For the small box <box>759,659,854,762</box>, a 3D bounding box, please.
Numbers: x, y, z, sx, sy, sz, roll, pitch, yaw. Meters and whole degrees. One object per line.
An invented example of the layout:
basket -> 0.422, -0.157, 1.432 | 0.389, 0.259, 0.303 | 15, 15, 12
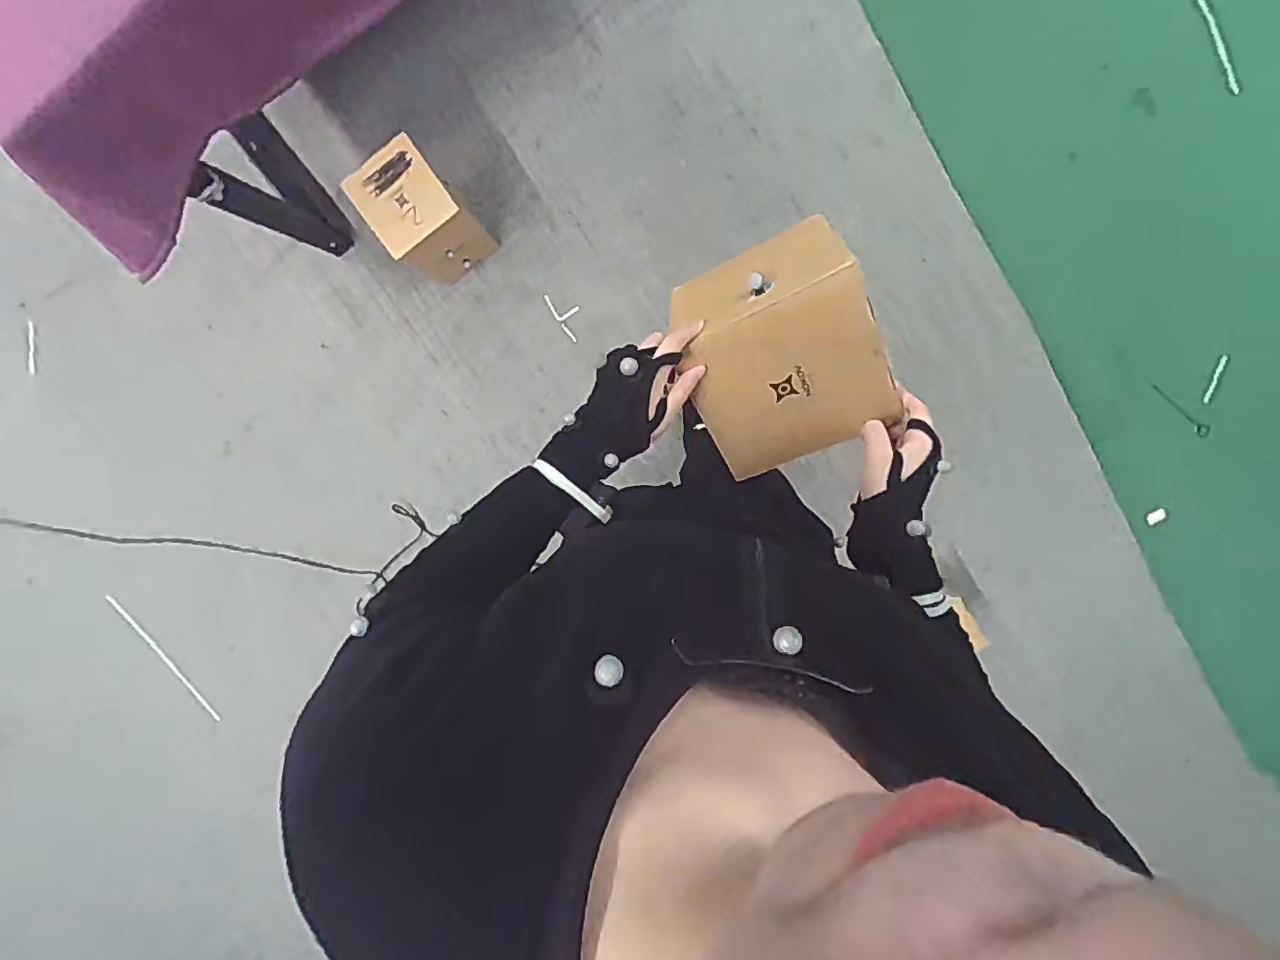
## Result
small box -> 0.450, 0.624, 1.496 | 0.168, 0.176, 0.179 | -33, 98, 7

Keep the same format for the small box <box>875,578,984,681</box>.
small box -> 0.760, 0.394, 1.447 | 0.179, 0.176, 0.168 | -34, 98, 7

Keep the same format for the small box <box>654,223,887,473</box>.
small box -> 0.131, -0.142, 0.575 | 0.179, 0.176, 0.168 | -23, 121, 19
